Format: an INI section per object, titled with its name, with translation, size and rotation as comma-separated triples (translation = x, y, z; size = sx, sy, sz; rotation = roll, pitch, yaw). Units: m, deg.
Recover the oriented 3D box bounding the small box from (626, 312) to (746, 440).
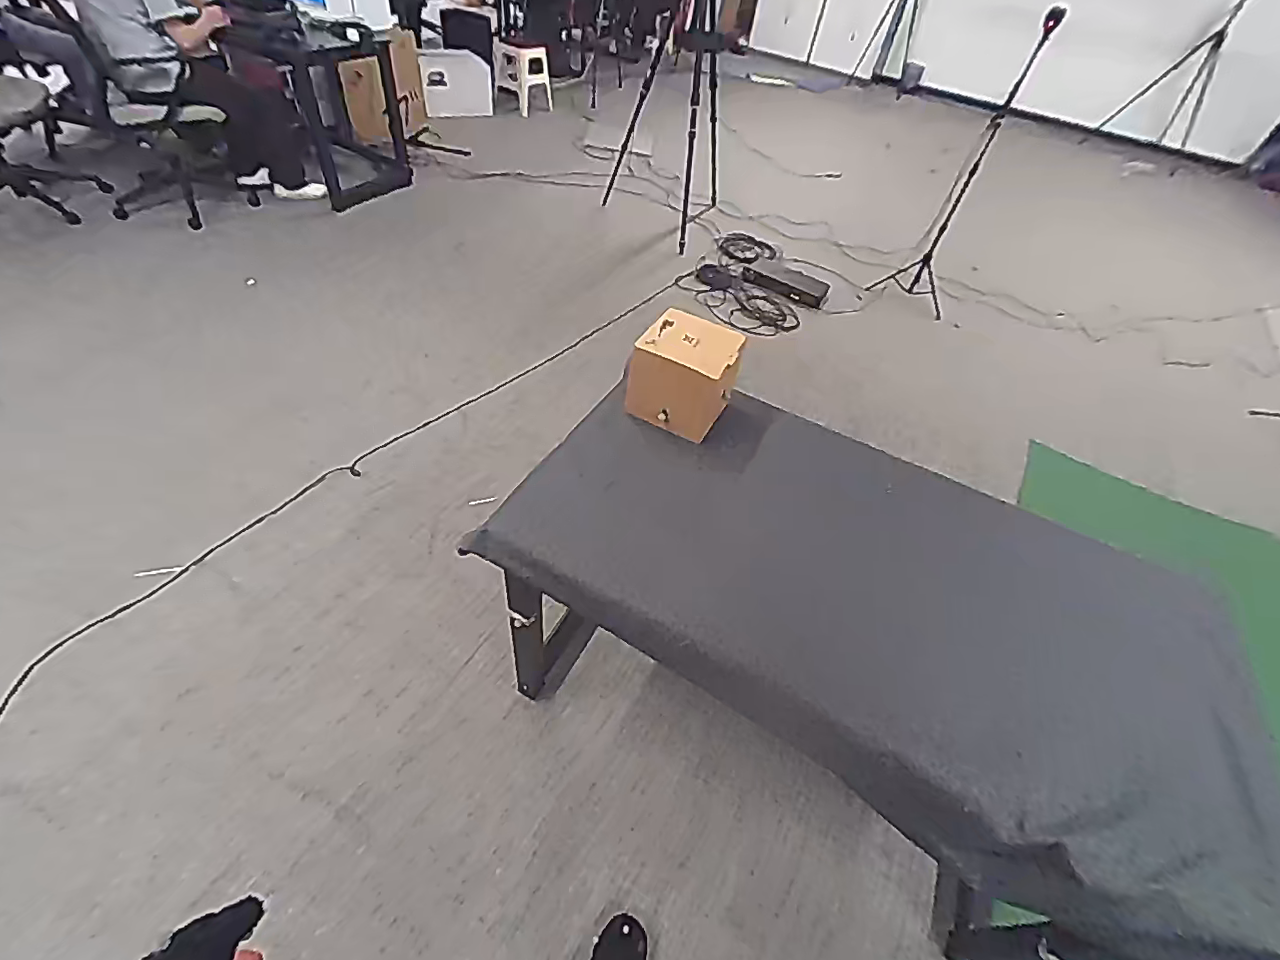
[small box]
translation = 0.088, -0.206, 1.100
size = 0.179, 0.176, 0.168
rotation = 26, 50, 13
